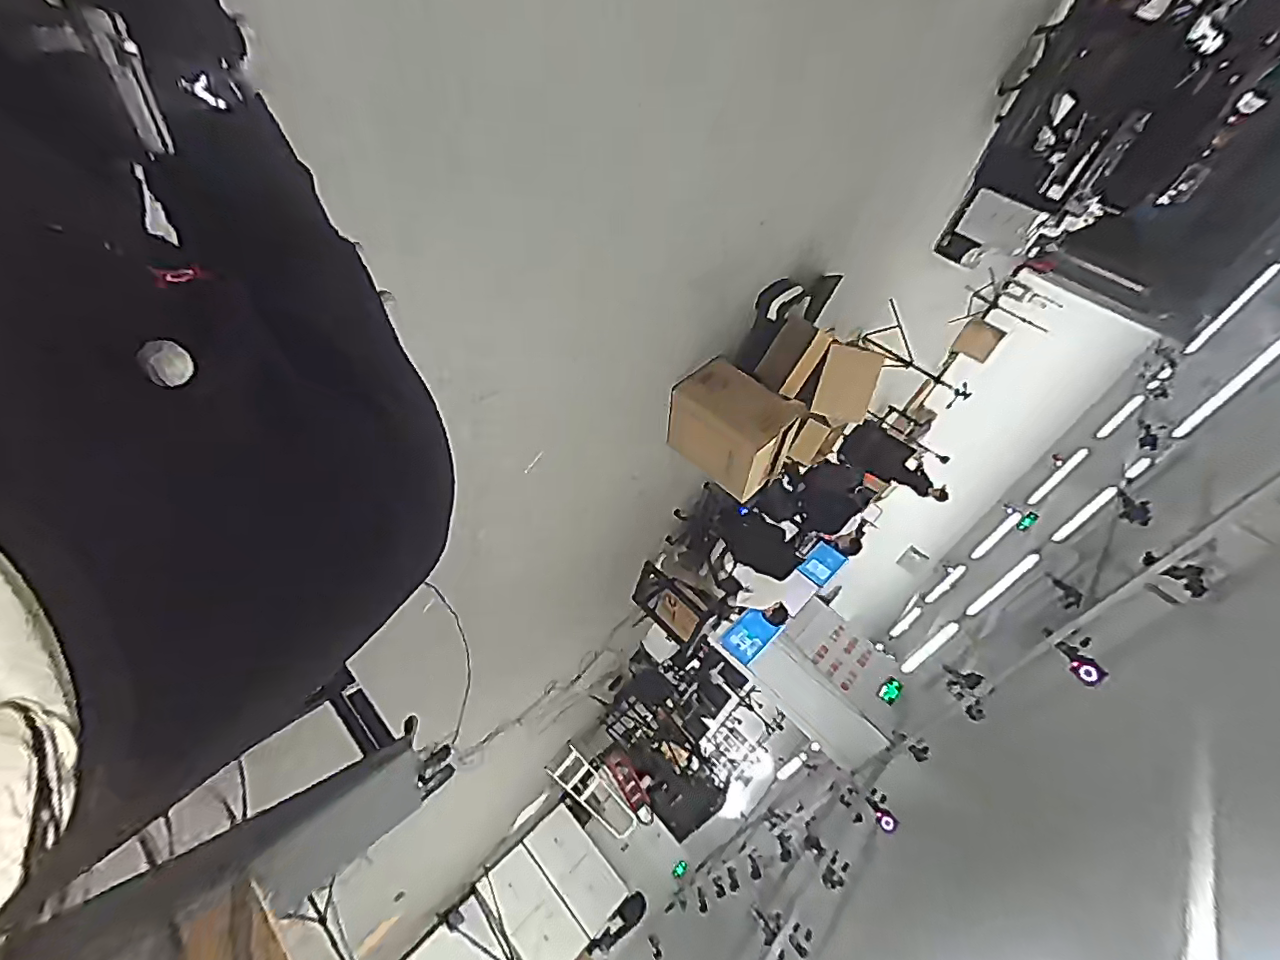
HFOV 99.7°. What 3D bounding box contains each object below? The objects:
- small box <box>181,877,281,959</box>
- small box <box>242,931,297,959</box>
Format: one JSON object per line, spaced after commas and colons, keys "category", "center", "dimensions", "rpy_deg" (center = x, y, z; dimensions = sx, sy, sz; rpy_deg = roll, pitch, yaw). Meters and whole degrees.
{"category": "small box", "center": [-1.081, 1.214, 1.438], "dimensions": [0.179, 0.176, 0.168], "rpy_deg": [-26, 150, -42]}
{"category": "small box", "center": [-0.968, 1.309, 1.373], "dimensions": [0.179, 0.176, 0.168], "rpy_deg": [-27, 149, -40]}
